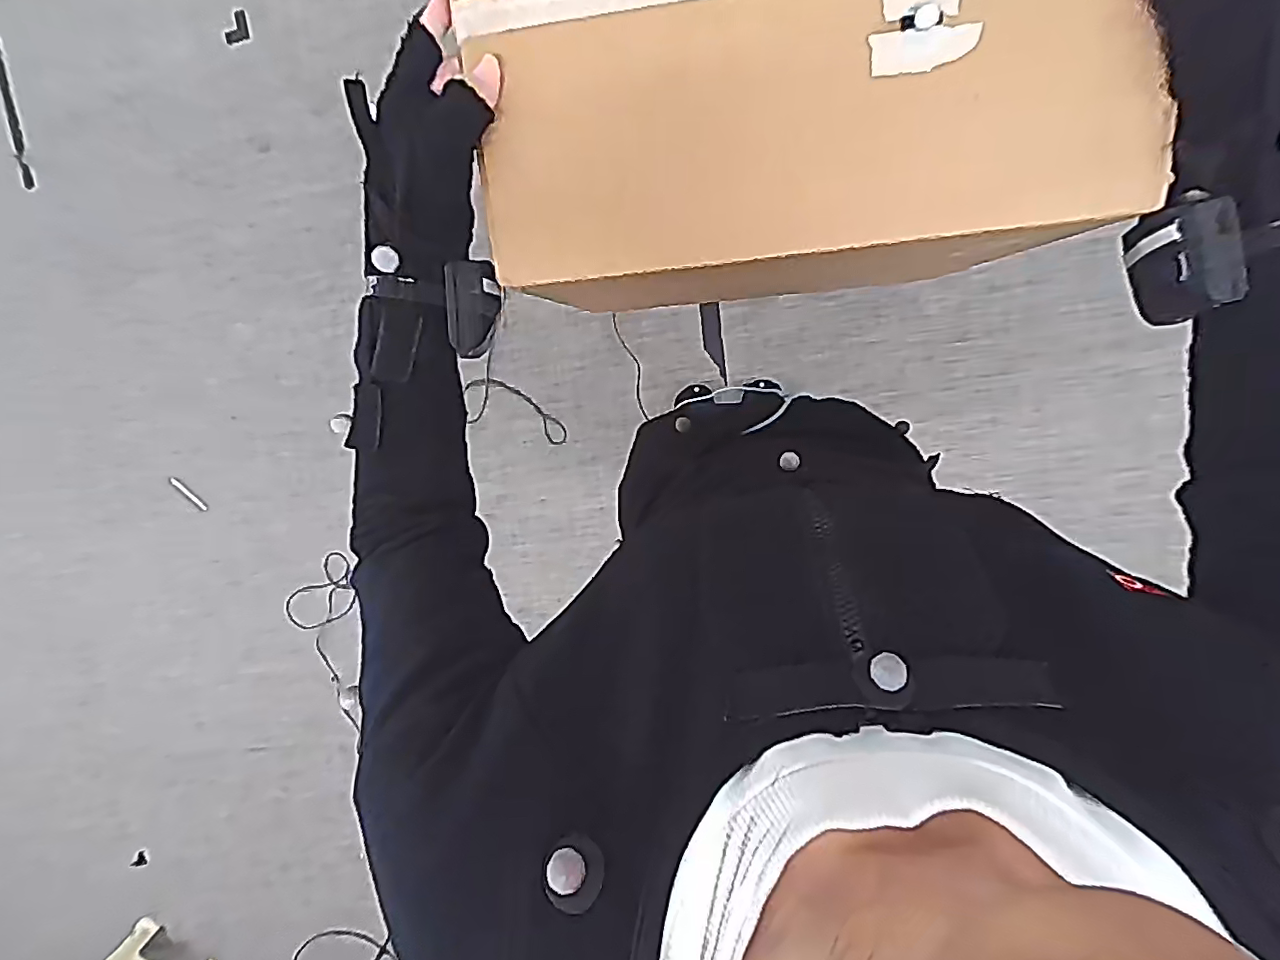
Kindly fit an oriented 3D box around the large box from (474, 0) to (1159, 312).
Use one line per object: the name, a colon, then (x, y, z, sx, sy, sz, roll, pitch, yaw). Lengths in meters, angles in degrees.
large box: (0.105, -0.337, 0.463, 0.408, 0.320, 0.320, -5, 104, 7)
